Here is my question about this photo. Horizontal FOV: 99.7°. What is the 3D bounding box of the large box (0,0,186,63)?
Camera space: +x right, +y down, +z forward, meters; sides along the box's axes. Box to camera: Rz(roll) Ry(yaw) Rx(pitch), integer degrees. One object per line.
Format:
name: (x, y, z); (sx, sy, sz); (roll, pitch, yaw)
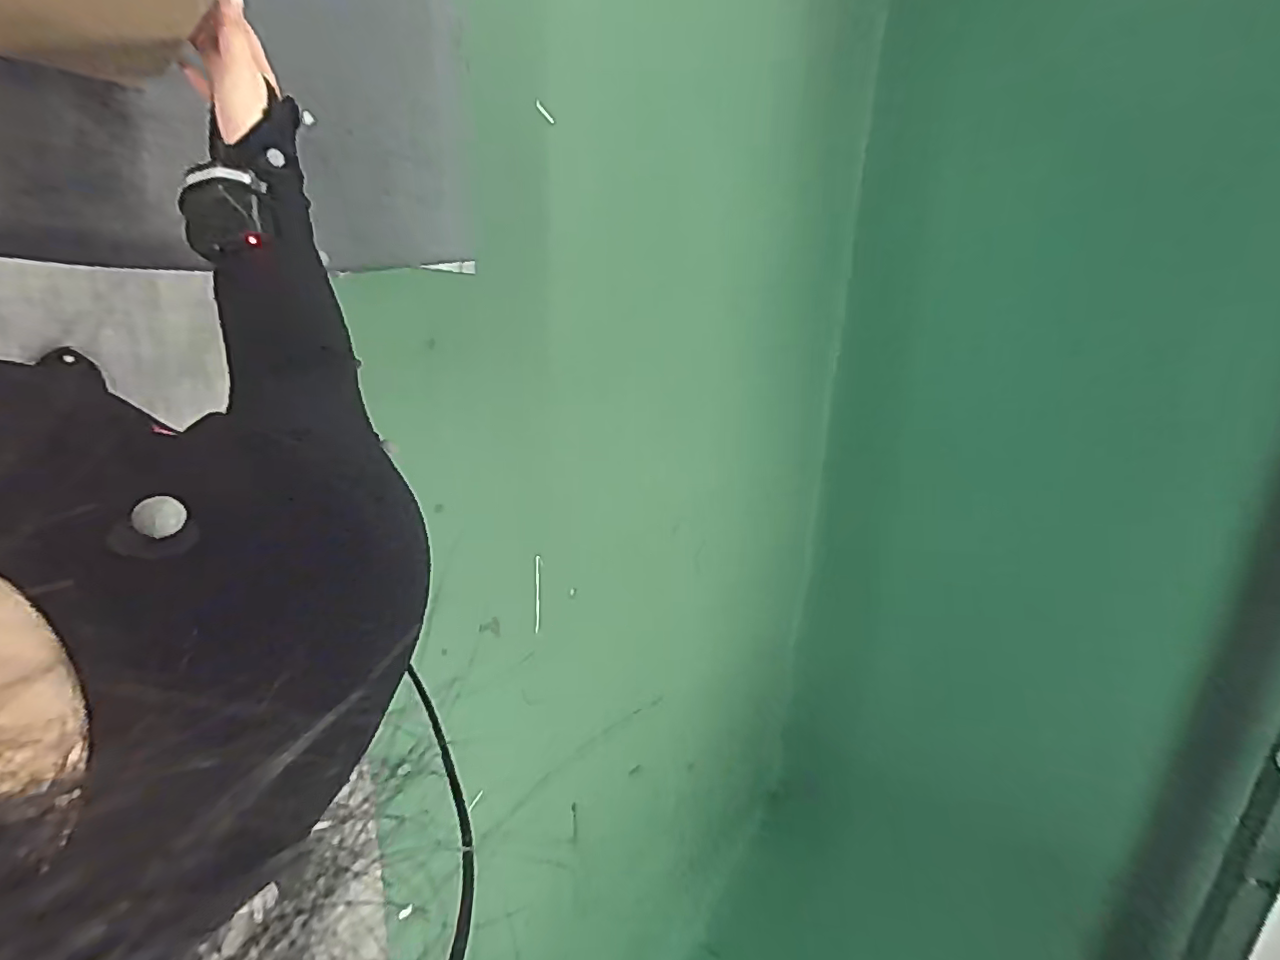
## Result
large box: (-0.501, -0.476, 0.252); (0.408, 0.320, 0.320); (-17, 116, -47)
